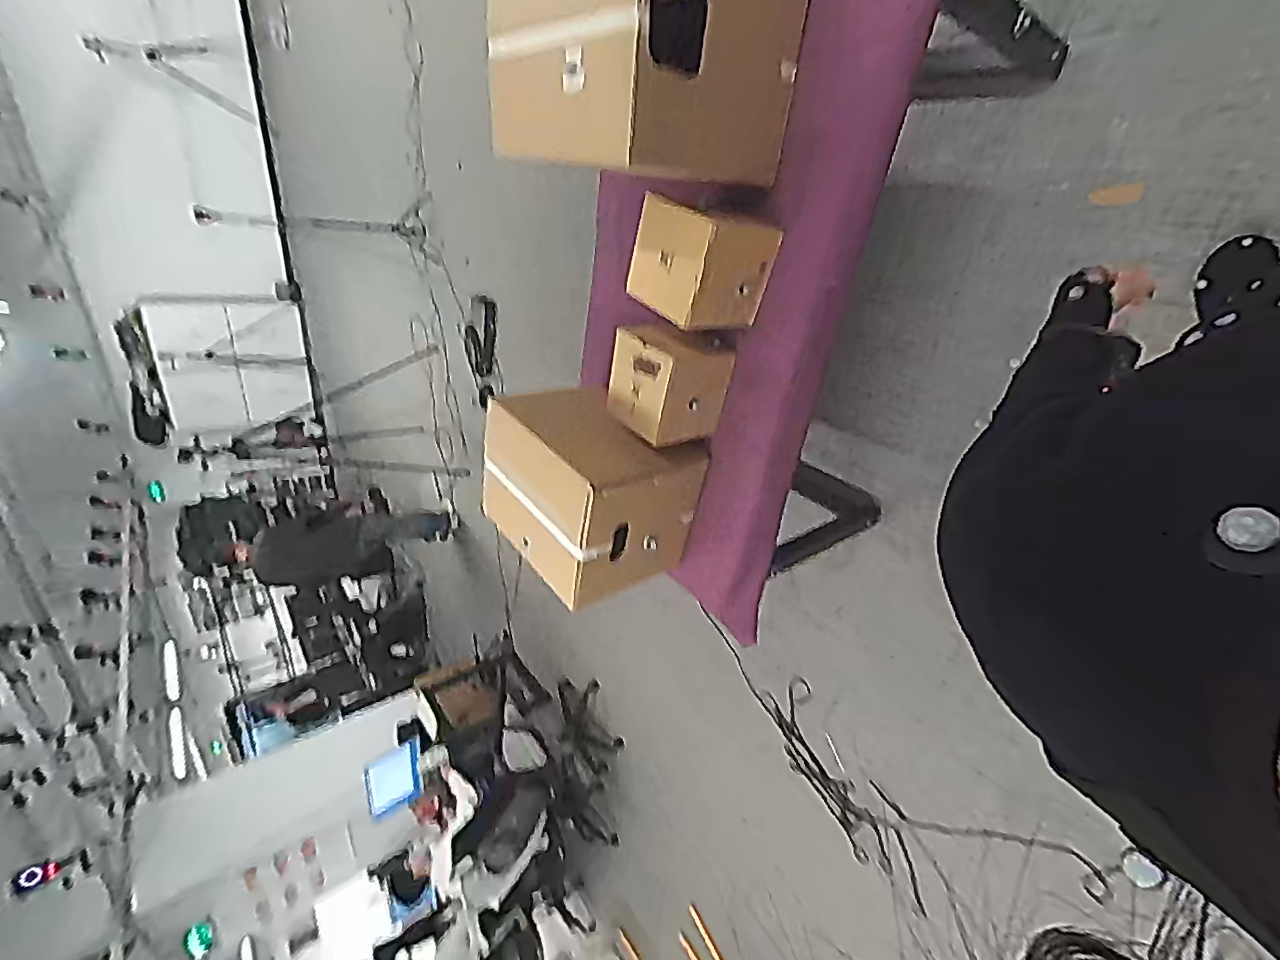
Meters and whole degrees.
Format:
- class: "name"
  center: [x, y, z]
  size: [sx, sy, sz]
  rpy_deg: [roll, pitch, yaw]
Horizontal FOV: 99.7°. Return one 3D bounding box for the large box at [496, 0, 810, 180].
- class: "large box"
  center: [0.003, -0.675, 0.867]
  size: [0.408, 0.320, 0.320]
  rpy_deg: [33, 128, 41]
